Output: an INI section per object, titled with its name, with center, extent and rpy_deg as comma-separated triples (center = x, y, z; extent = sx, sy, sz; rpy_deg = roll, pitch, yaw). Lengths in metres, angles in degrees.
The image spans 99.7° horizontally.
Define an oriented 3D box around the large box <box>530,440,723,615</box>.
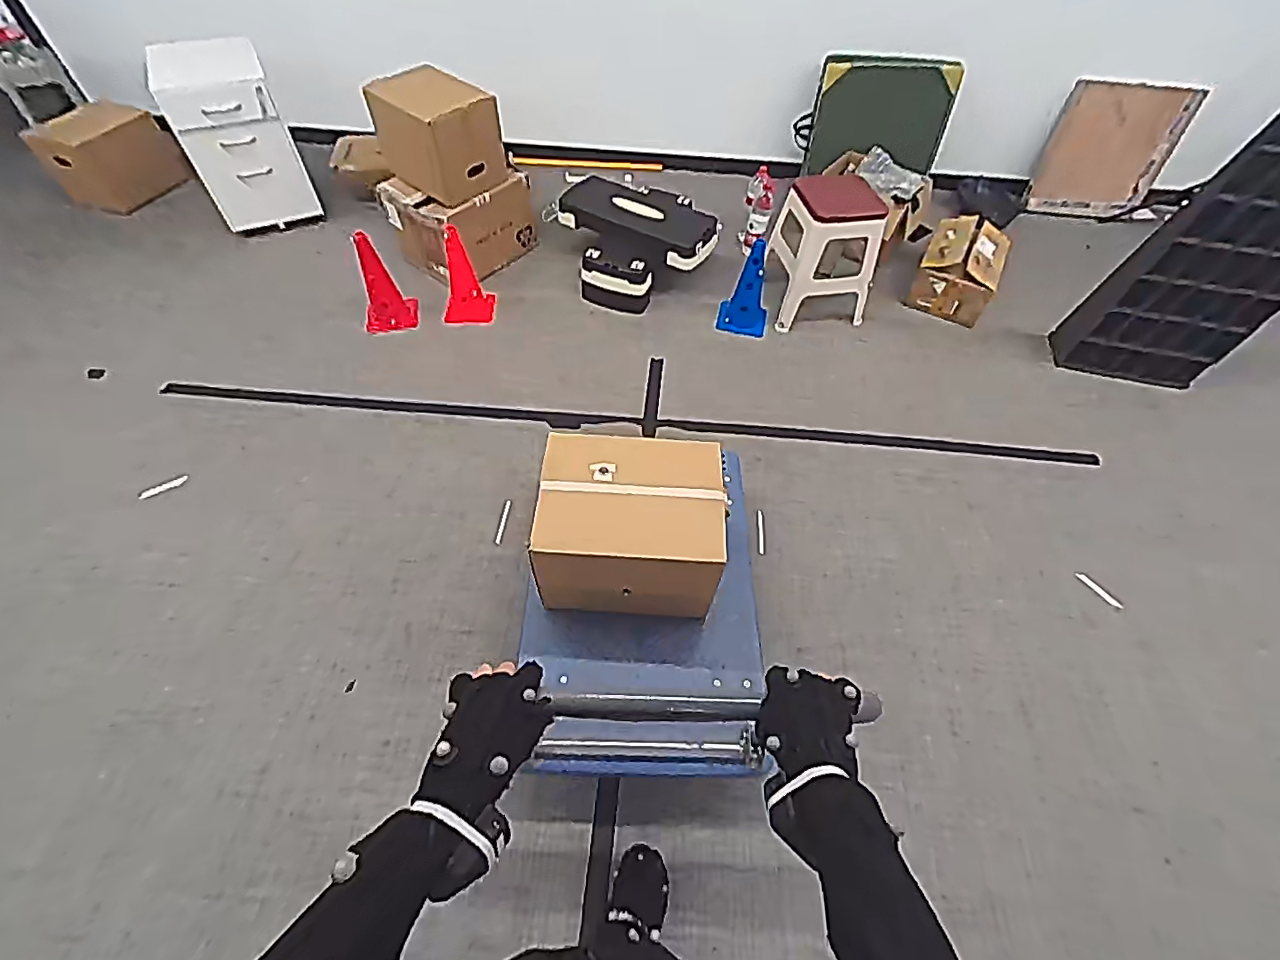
[large box]
center = -0.023, 0.124, 1.310
extent = 0.408, 0.320, 0.320
rpy_deg = 4, 55, 0
